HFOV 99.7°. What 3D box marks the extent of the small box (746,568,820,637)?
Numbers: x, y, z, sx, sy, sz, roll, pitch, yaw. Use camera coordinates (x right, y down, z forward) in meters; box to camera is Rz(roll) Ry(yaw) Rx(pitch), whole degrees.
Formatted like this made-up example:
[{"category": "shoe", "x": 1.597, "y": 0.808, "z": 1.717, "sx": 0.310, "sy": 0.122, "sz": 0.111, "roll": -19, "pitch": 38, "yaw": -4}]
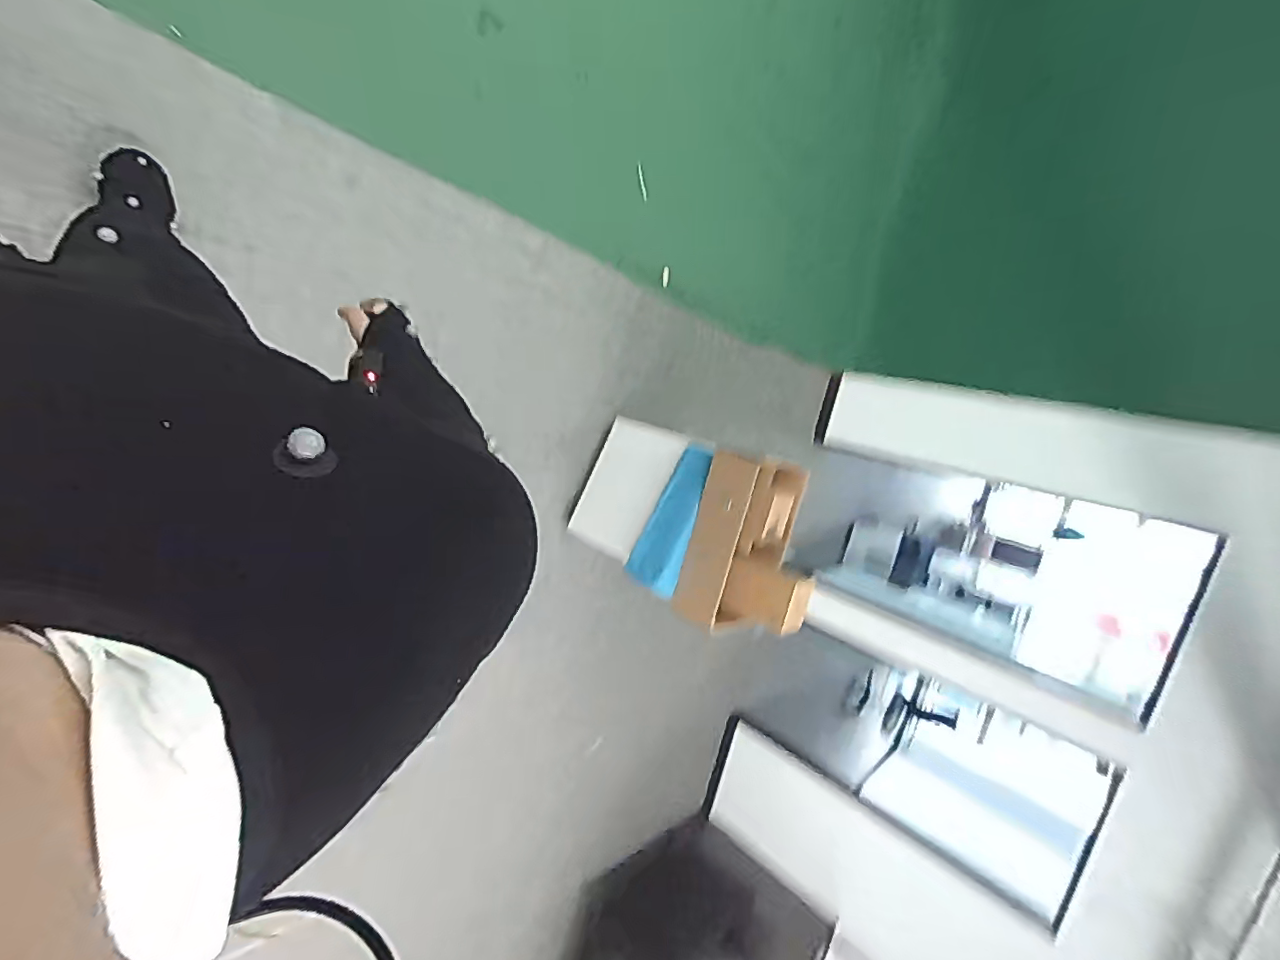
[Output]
[{"category": "small box", "x": 0.482, "y": 0.407, "z": 1.840, "sx": 0.168, "sy": 0.176, "sz": 0.179, "roll": 7, "pitch": 101, "yaw": -50}]
